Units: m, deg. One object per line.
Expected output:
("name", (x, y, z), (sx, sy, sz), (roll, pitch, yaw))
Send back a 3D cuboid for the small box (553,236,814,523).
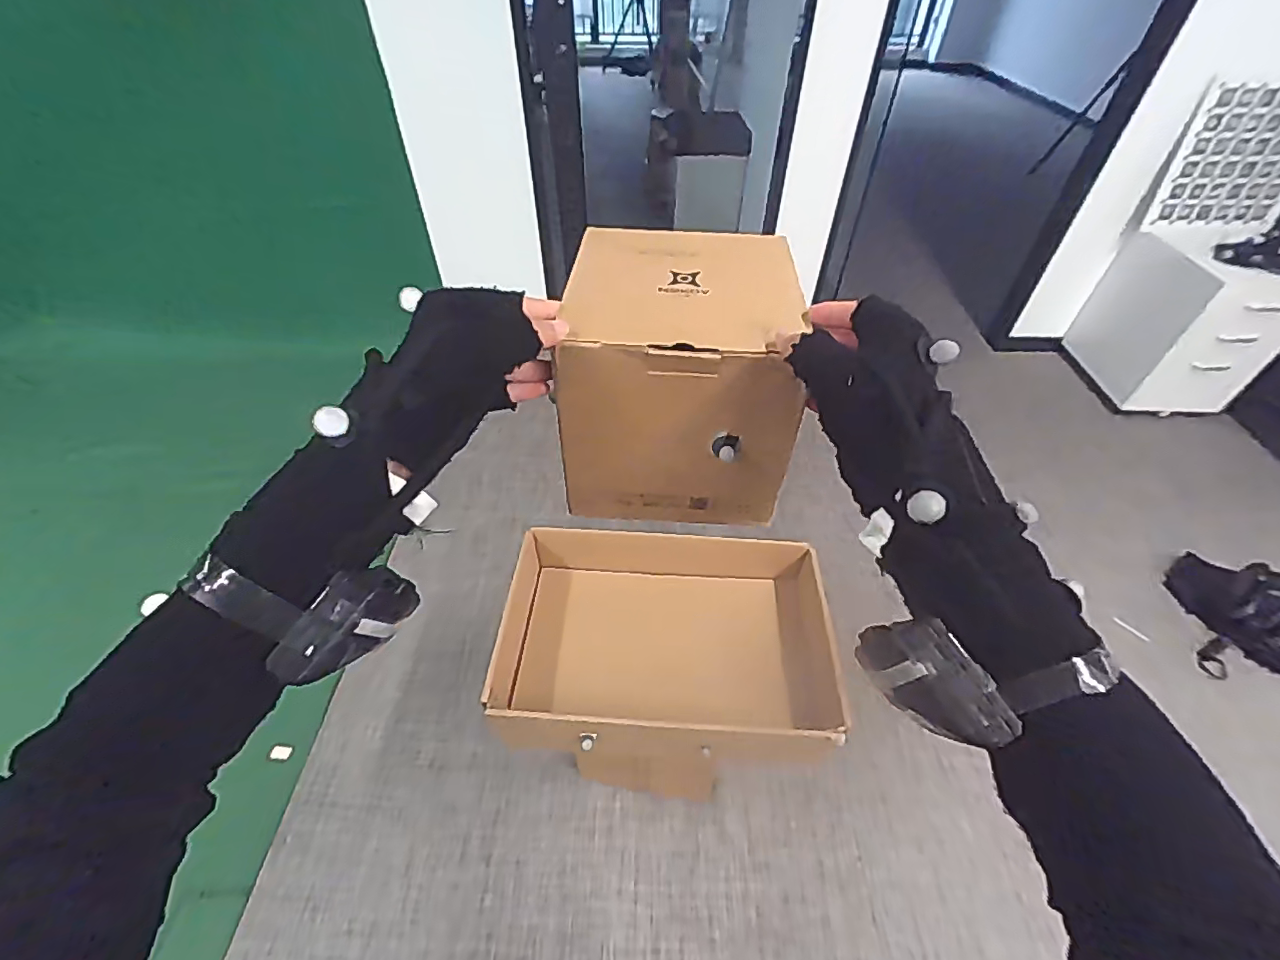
("small box", (0.031, -0.081, 0.447), (0.168, 0.176, 0.179), (3, 45, 1))
